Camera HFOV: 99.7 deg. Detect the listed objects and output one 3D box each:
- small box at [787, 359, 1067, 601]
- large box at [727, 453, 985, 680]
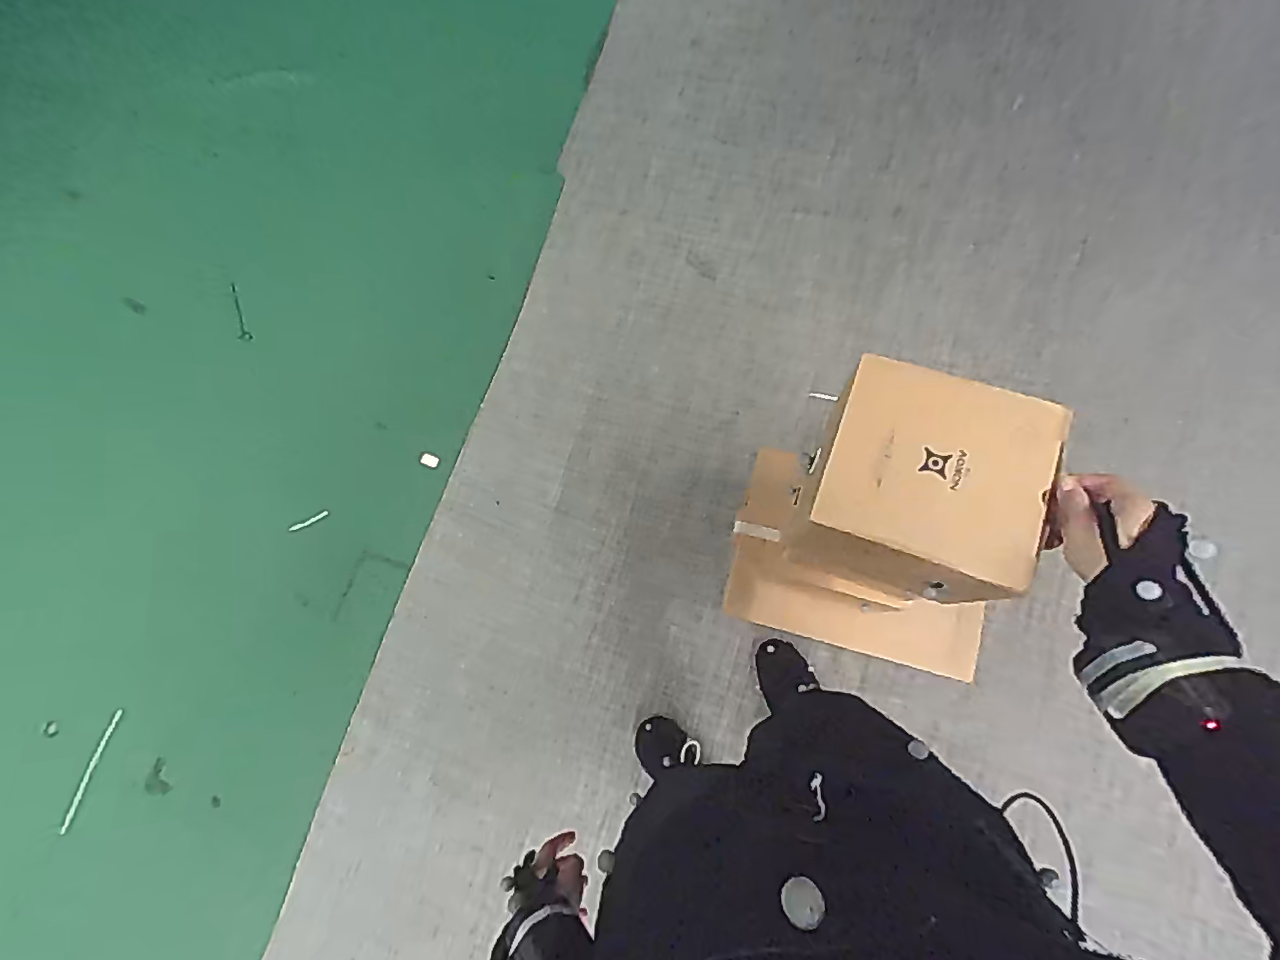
[{"bbox_3d":[0.259,0.012,0.529,0.179,0.176,0.168,18,77,13],"label":"small box"},{"bbox_3d":[0.395,0.168,1.061,0.408,0.320,0.320,13,79,12],"label":"large box"}]
